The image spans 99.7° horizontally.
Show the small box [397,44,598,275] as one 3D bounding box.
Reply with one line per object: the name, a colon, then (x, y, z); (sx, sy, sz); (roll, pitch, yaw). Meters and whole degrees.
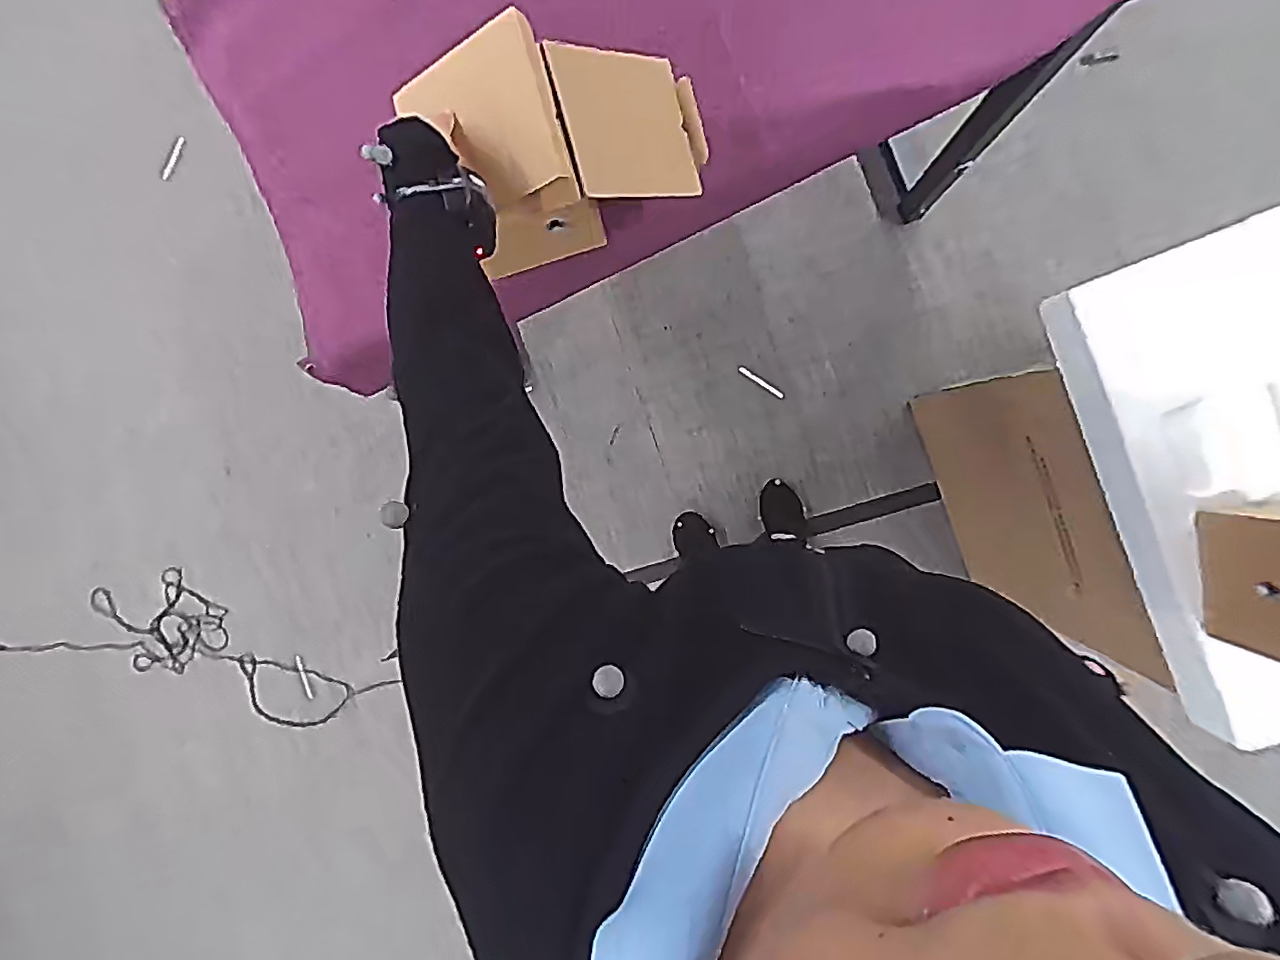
small box: (-0.158, -0.374, 0.668); (0.179, 0.176, 0.168); (-15, 95, 6)
